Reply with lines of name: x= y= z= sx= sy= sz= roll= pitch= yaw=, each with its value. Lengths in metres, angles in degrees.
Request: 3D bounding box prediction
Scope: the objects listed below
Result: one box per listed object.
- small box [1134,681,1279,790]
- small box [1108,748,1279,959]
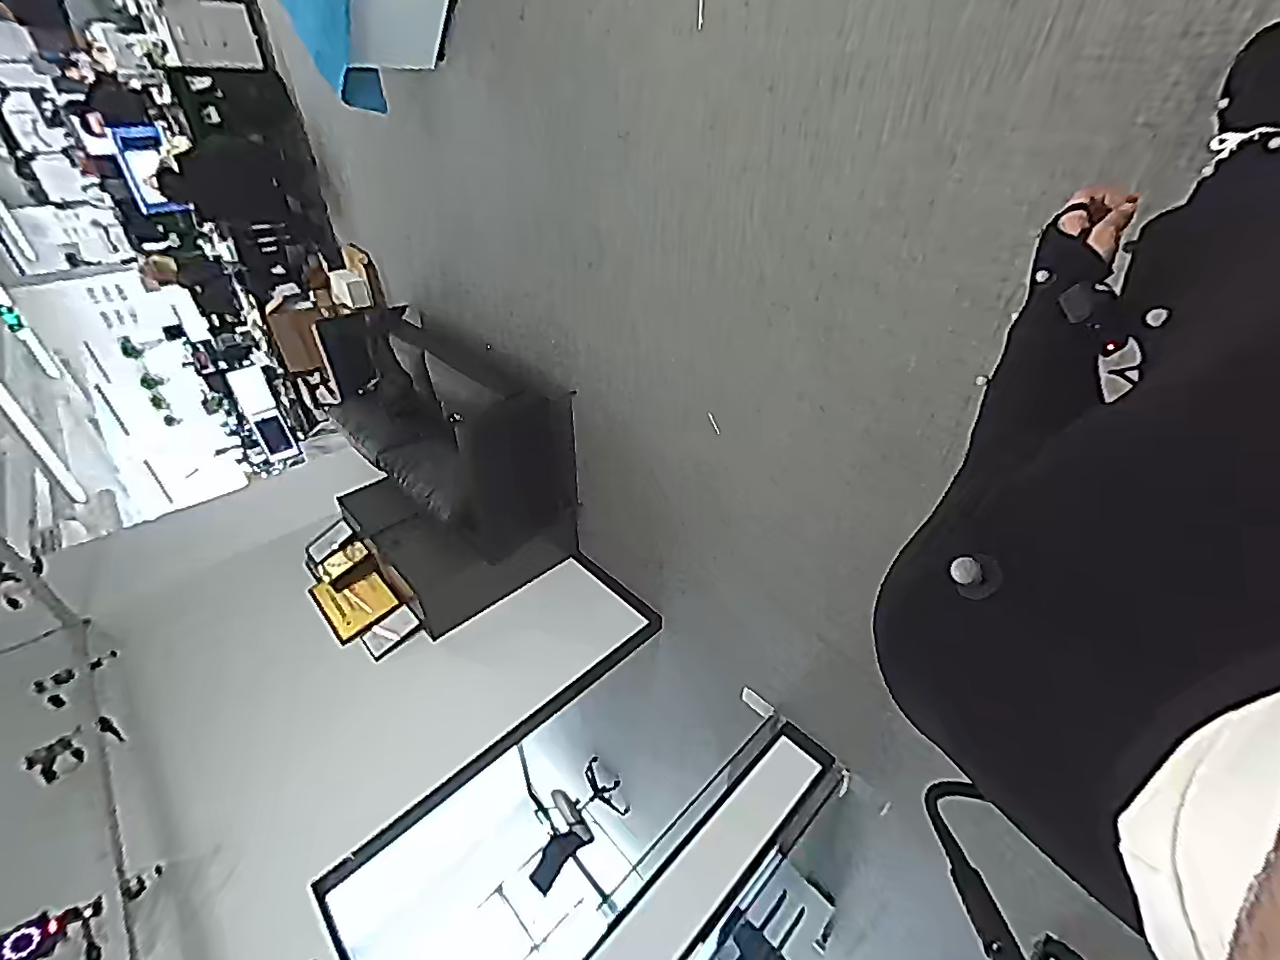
small box: x=0.938 y=0.457 z=0.842 sx=0.168 sy=0.176 sz=0.179 roll=38 pitch=140 yaw=31
small box: x=0.817 y=0.521 z=0.753 sx=0.168 sy=0.176 sz=0.179 roll=37 pitch=139 yaw=31
